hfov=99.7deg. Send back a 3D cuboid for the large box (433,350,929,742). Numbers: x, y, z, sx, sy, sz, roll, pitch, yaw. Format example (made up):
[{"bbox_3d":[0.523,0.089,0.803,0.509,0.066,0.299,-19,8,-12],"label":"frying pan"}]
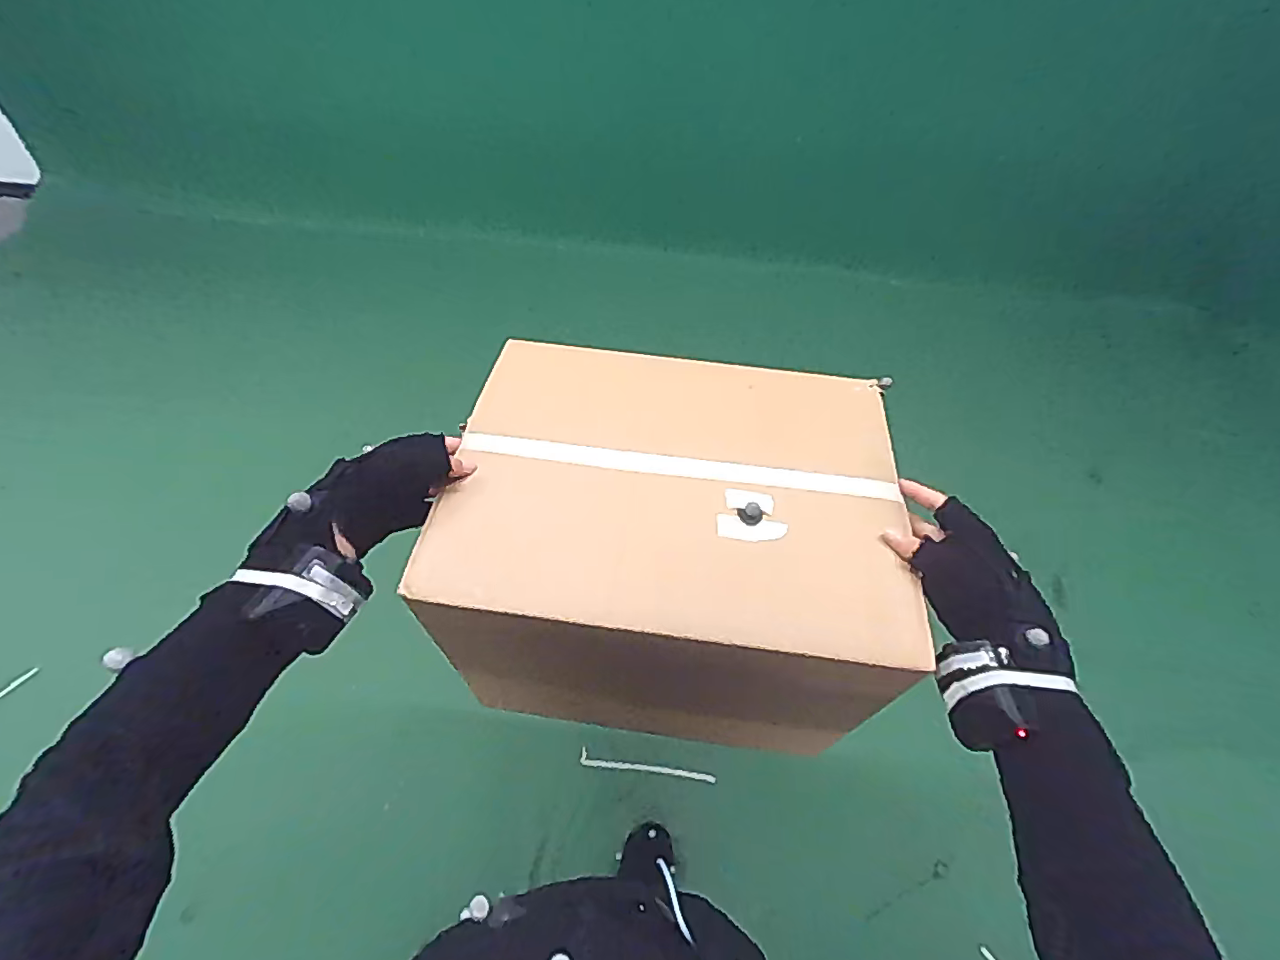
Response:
[{"bbox_3d":[0.037,0.085,0.630,0.408,0.320,0.320,7,53,2],"label":"large box"}]
